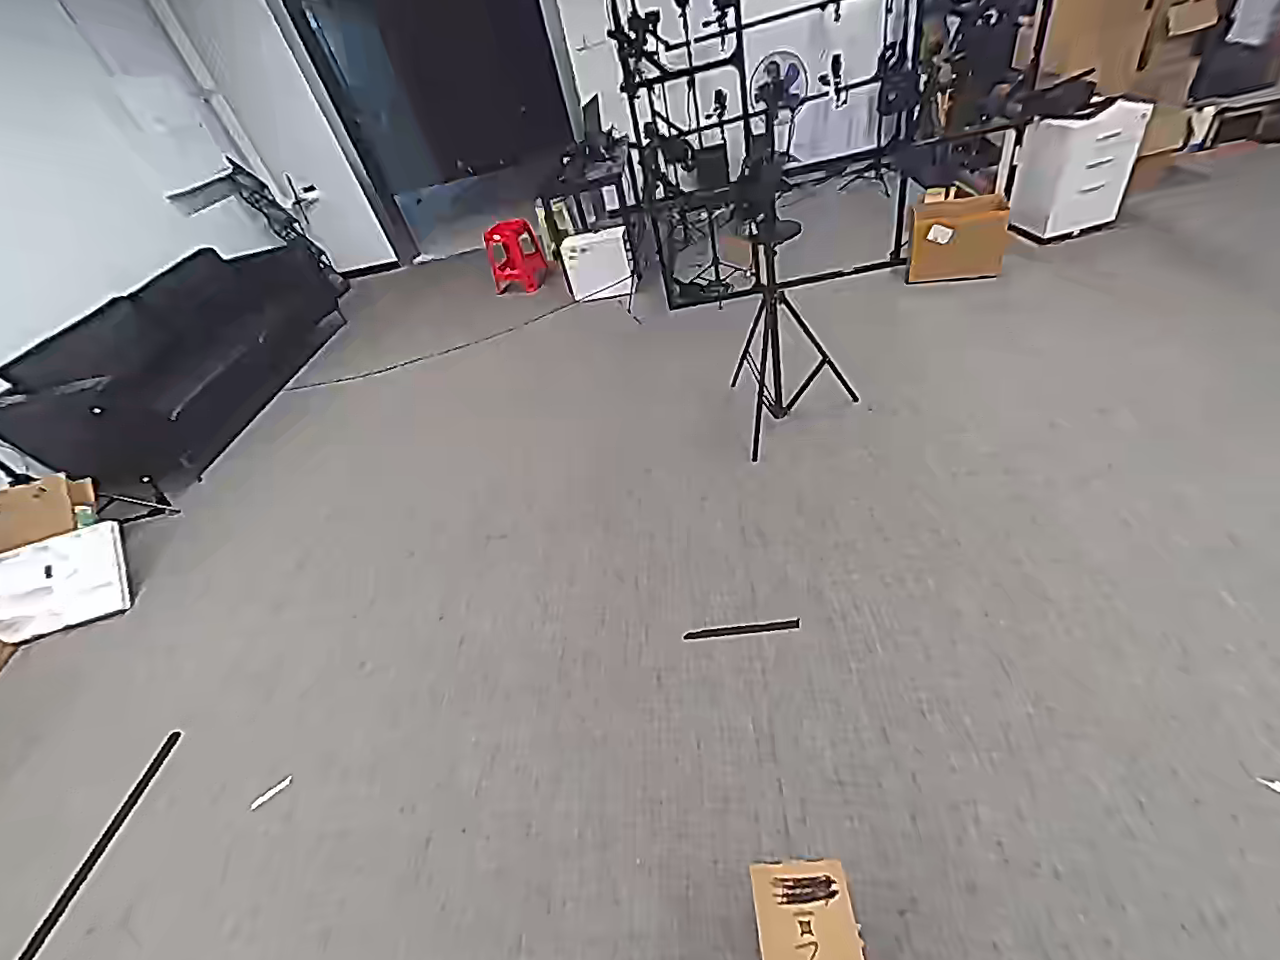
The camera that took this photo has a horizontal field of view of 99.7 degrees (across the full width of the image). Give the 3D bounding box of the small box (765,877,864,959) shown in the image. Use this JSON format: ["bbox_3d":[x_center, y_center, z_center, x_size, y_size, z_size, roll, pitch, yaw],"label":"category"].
[{"bbox_3d":[0.346,0.922,1.078,0.168,0.176,0.179,-9,41,8],"label":"small box"}]
